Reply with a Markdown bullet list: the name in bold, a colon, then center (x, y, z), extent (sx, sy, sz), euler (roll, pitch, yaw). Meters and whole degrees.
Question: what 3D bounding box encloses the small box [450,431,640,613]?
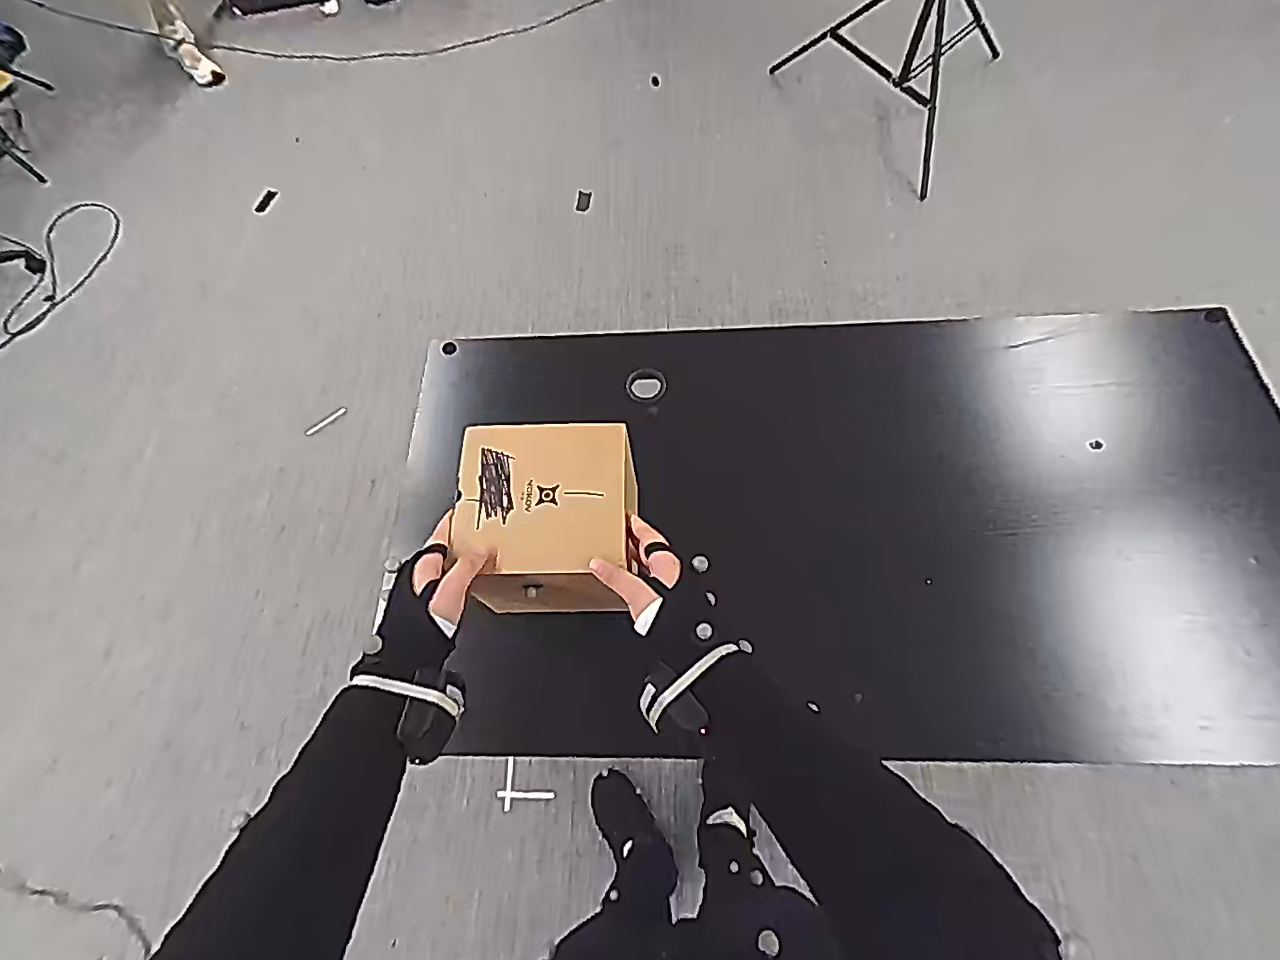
- **small box**: center (-0.094, 0.057, 0.631), extent (0.179, 0.176, 0.168), euler (-1, 64, 3)
